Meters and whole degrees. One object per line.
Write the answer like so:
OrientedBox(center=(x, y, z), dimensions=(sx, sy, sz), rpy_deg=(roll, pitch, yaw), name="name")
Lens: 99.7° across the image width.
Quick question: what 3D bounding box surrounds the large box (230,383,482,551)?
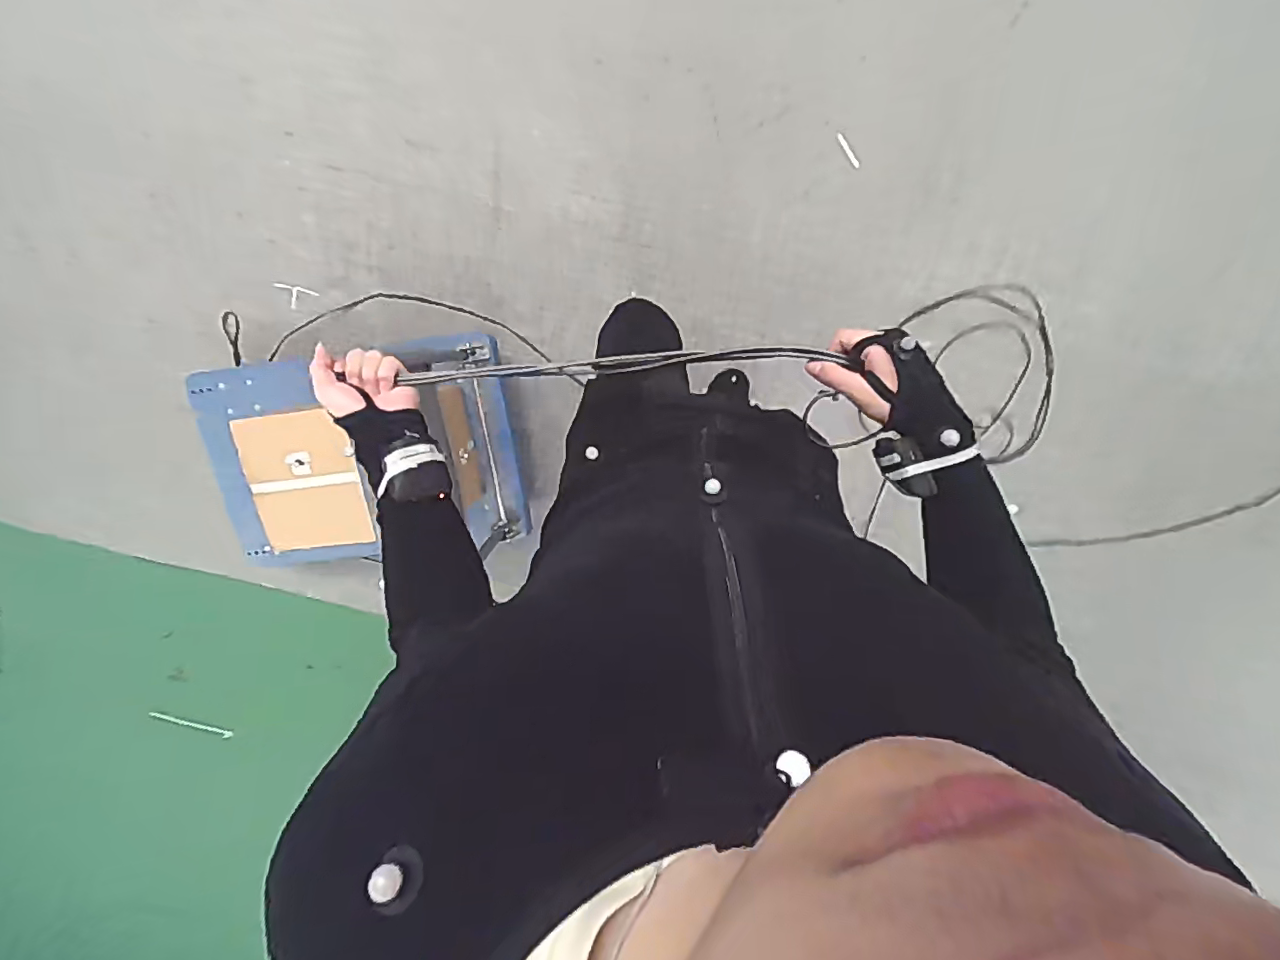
OrientedBox(center=(-0.656, -0.045, 1.321), dimensions=(0.408, 0.320, 0.320), rpy_deg=(-6, 104, 6), name="large box")
